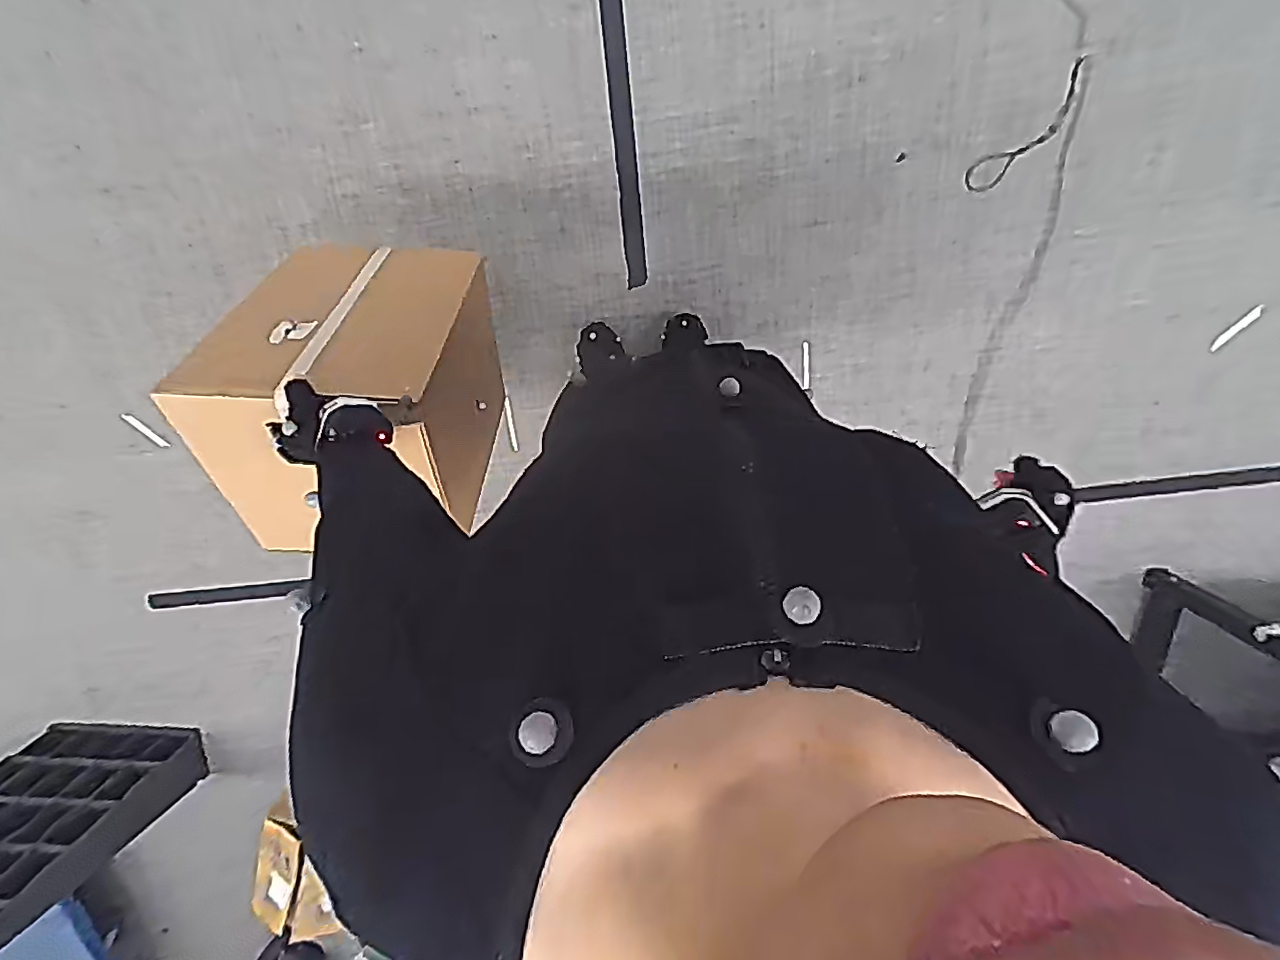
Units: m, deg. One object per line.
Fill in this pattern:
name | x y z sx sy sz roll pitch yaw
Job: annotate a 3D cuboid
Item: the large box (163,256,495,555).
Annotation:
large box | -0.436 -0.127 0.895 0.320 0.408 0.320 0 137 -3
